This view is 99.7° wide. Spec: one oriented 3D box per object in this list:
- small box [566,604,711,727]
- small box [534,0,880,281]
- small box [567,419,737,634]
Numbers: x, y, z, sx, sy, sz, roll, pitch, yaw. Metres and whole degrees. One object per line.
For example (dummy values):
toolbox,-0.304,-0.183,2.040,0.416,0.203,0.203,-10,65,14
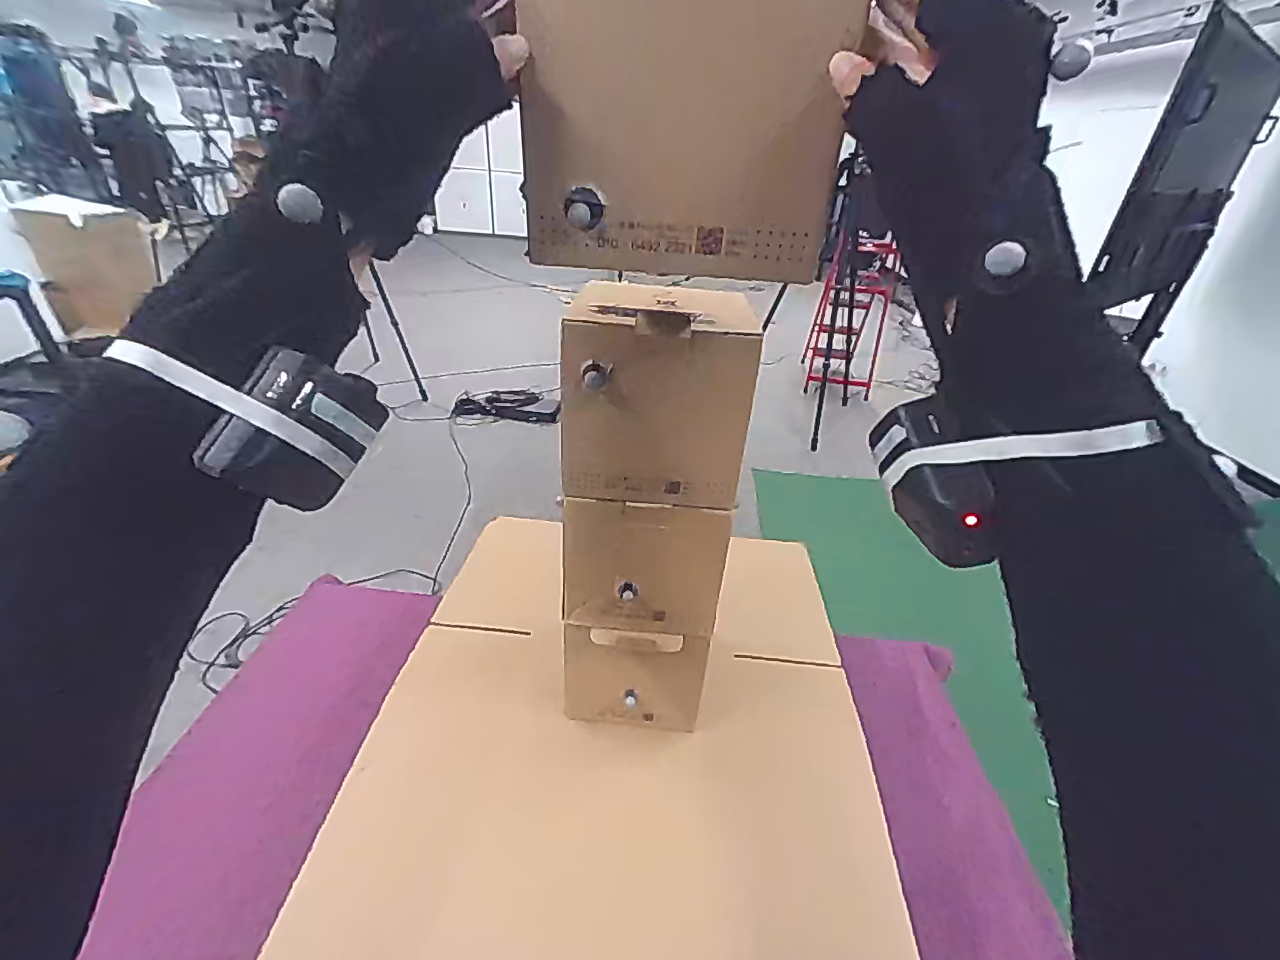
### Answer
small box,-0.002,0.188,0.708,0.168,0.176,0.179,6,31,2
small box,0.034,-0.233,0.338,0.168,0.176,0.179,4,36,0
small box,0.009,0.048,0.625,0.168,0.176,0.179,6,31,0
